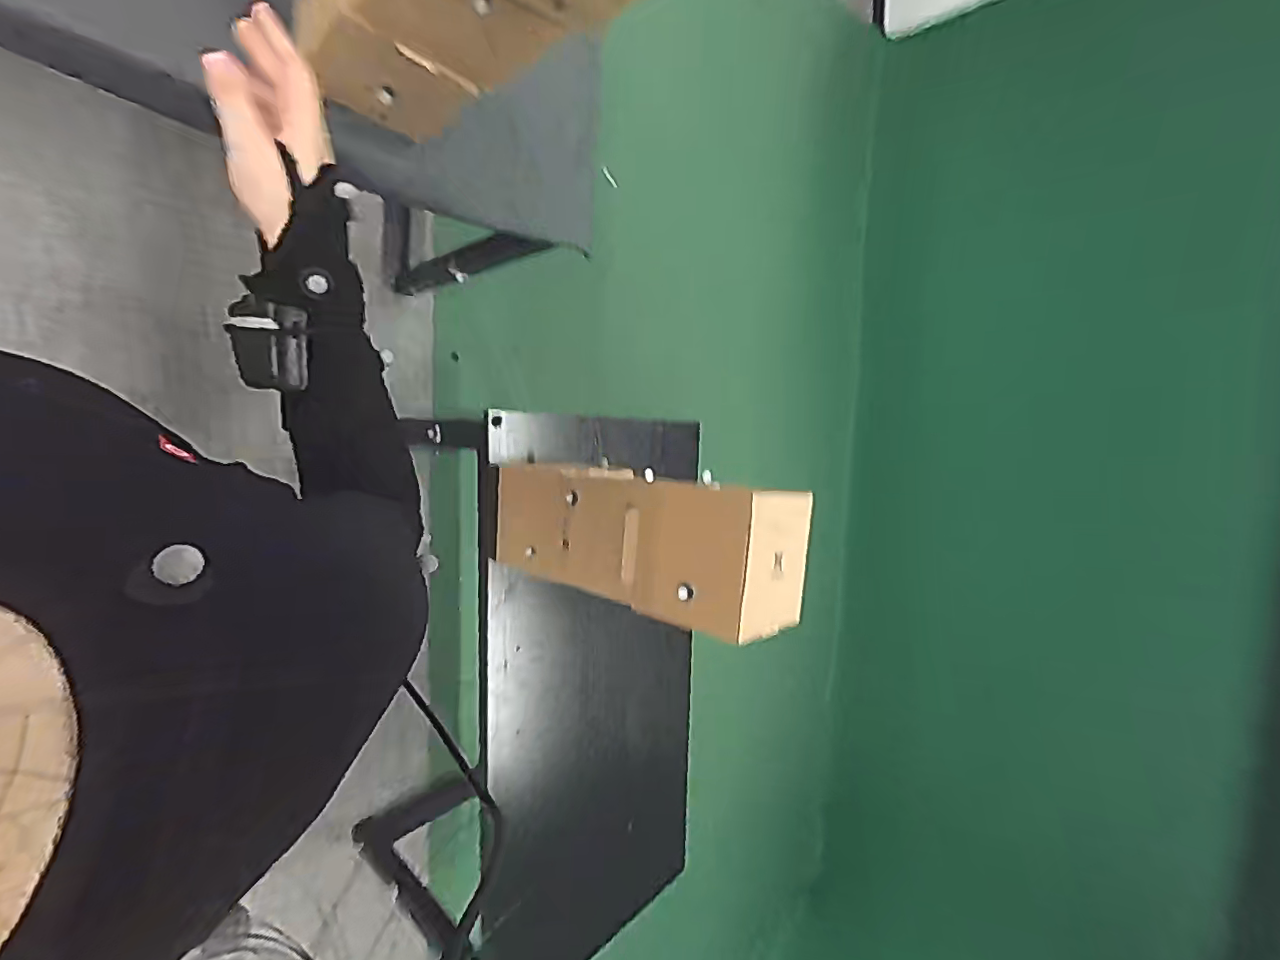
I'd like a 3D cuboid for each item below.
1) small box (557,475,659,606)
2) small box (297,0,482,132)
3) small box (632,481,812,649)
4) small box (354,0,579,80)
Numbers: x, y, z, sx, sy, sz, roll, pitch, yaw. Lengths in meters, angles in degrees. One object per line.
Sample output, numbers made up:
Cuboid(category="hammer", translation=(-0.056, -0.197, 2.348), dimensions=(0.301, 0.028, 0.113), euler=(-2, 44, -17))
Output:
Cuboid(category="small box", translation=(-0.008, 0.084, 0.830), dimensions=(0.179, 0.176, 0.168), euler=(2, 95, -48))
Cuboid(category="small box", translation=(-0.304, -0.573, 0.665), dimensions=(0.168, 0.176, 0.179), euler=(3, 92, -47))
Cuboid(category="small box", translation=(0.106, 0.100, 0.715), dimensions=(0.168, 0.176, 0.179), euler=(3, 94, -49))
Cuboid(category="small box", translation=(-0.178, -0.563, 0.561), dimensions=(0.179, 0.176, 0.168), euler=(0, 94, -47))
